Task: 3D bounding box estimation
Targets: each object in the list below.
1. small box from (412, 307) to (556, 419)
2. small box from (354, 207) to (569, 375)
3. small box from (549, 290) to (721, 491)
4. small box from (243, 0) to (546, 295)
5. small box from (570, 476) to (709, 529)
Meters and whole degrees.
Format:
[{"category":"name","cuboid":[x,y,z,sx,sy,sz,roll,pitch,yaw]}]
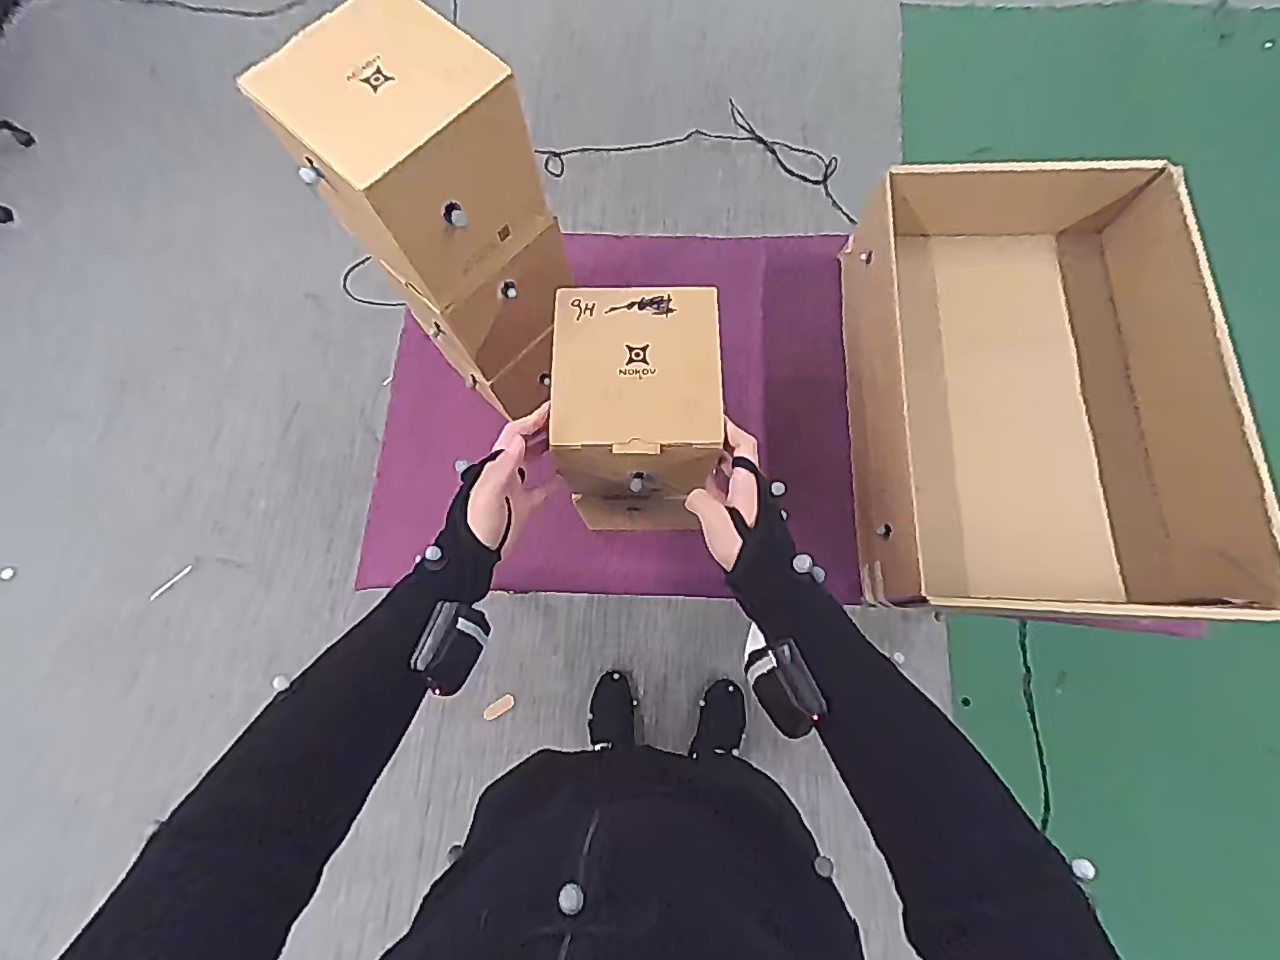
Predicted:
[{"category":"small box","cuboid":[-0.205,-0.216,0.838,0.179,0.176,0.168,43,79,13]},{"category":"small box","cuboid":[-0.205,-0.265,0.684,0.179,0.176,0.168,-44,78,-10]},{"category":"small box","cuboid":[-0.002,-0.087,0.603,0.168,0.176,0.179,0,74,0]},{"category":"small box","cuboid":[-0.216,-0.312,0.529,0.179,0.176,0.168,42,80,12]},{"category":"small box","cuboid":[0.004,-0.026,0.771,0.179,0.176,0.168,0,72,2]}]
